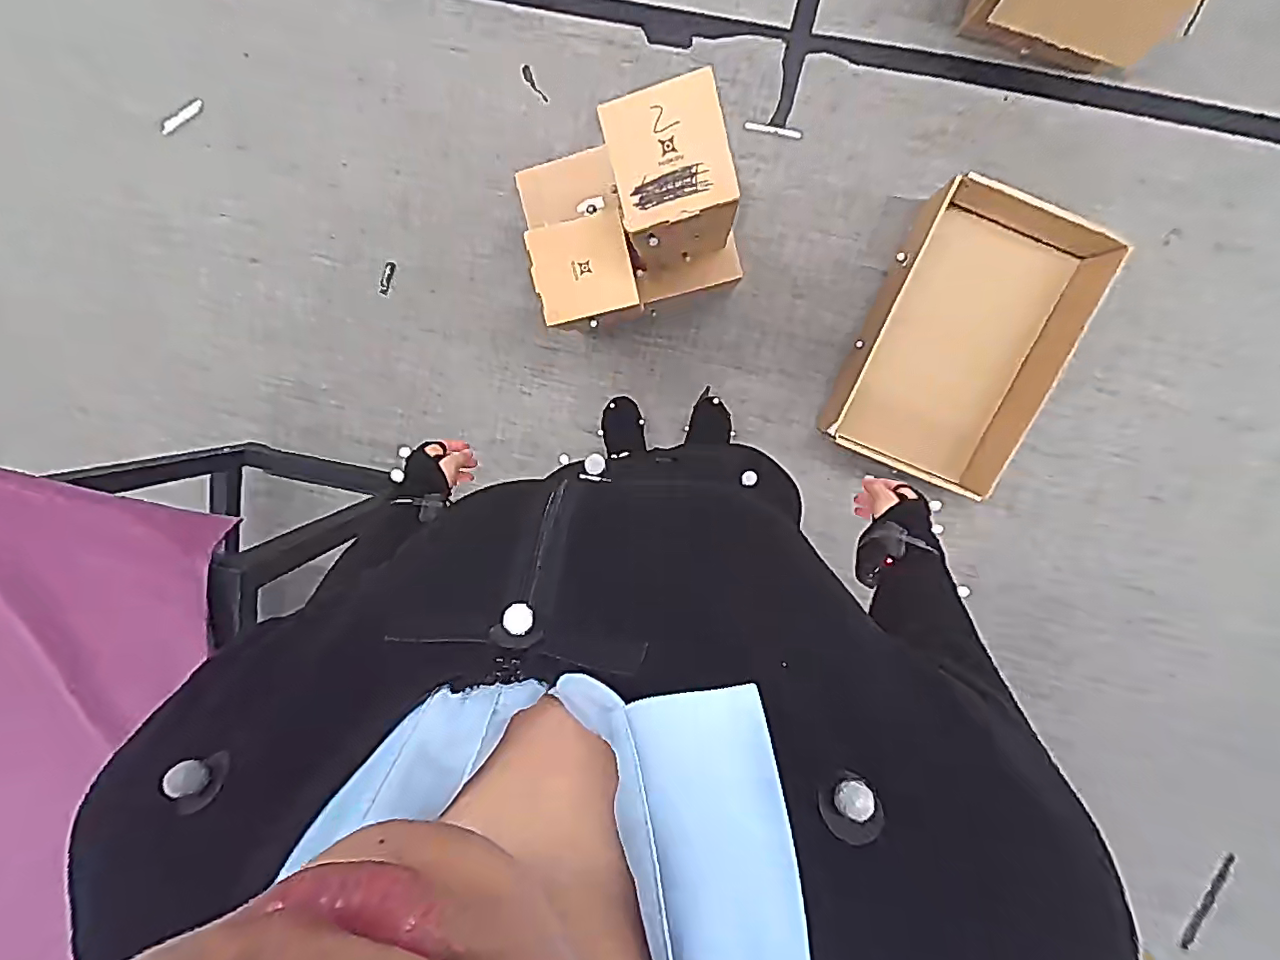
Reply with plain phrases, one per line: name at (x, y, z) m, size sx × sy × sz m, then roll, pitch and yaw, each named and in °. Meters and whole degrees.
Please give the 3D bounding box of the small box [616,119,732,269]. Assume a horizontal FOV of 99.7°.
small box at (0.063, -0.506, 0.984) m, size 0.168 × 0.176 × 0.179 m, roll -14°, pitch 101°, yaw 8°

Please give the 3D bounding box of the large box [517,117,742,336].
large box at (-0.007, -0.538, 1.234) m, size 0.408 × 0.320 × 0.320 m, roll -13°, pitch 99°, yaw 8°
